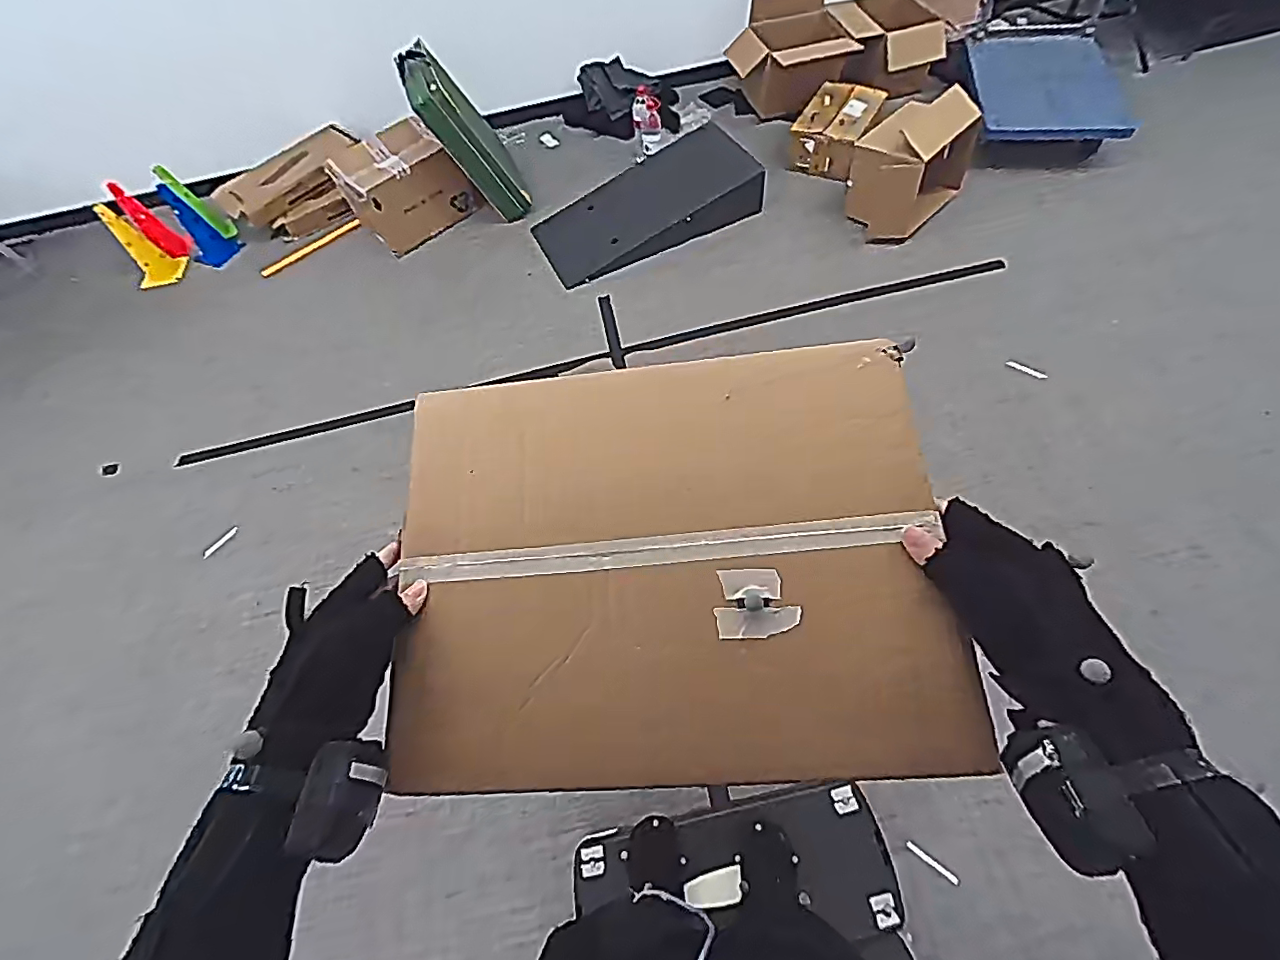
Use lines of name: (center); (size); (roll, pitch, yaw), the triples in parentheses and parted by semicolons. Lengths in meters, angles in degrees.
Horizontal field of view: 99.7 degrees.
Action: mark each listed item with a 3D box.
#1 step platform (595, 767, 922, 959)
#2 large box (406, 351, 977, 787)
step platform: (0.242, 0.874, 1.206); (0.684, 0.204, 0.286); (-14, 60, -2)
large box: (0.034, 0.105, 0.559); (0.408, 0.320, 0.320); (-6, 71, 6)
